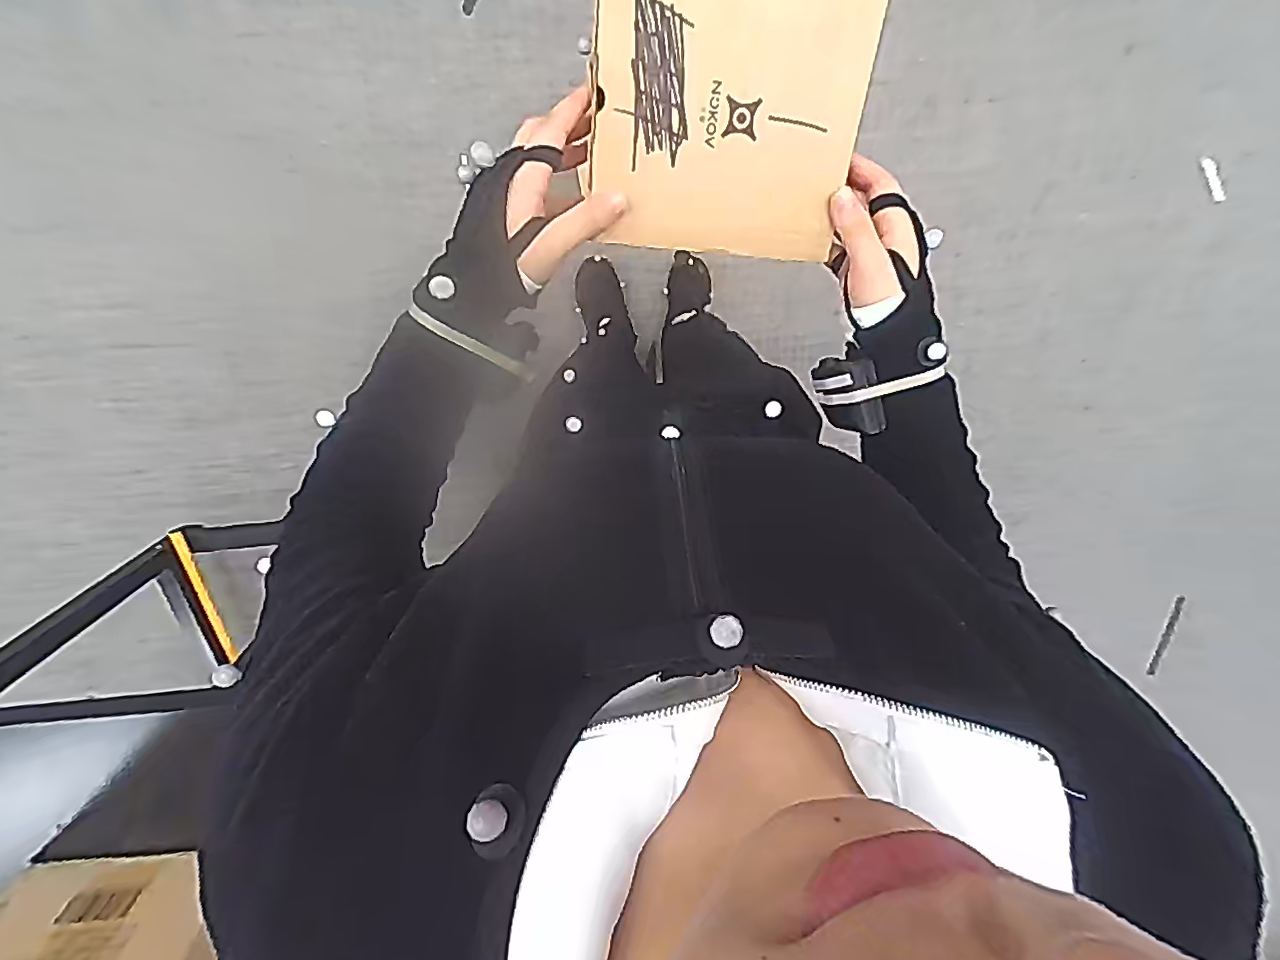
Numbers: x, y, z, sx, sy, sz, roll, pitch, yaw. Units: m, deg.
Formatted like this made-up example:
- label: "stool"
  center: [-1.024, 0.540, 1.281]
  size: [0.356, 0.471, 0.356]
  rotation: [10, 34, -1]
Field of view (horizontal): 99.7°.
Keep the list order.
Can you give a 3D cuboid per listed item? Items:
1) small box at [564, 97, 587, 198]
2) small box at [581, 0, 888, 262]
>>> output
- label: "small box"
  center: [-0.062, -0.698, 1.146]
  size: [0.168, 0.176, 0.179]
  rotation: [-10, 116, 1]
- label: "small box"
  center: [0.048, -0.268, 0.410]
  size: [0.179, 0.176, 0.168]
  rotation: [3, 118, -7]
